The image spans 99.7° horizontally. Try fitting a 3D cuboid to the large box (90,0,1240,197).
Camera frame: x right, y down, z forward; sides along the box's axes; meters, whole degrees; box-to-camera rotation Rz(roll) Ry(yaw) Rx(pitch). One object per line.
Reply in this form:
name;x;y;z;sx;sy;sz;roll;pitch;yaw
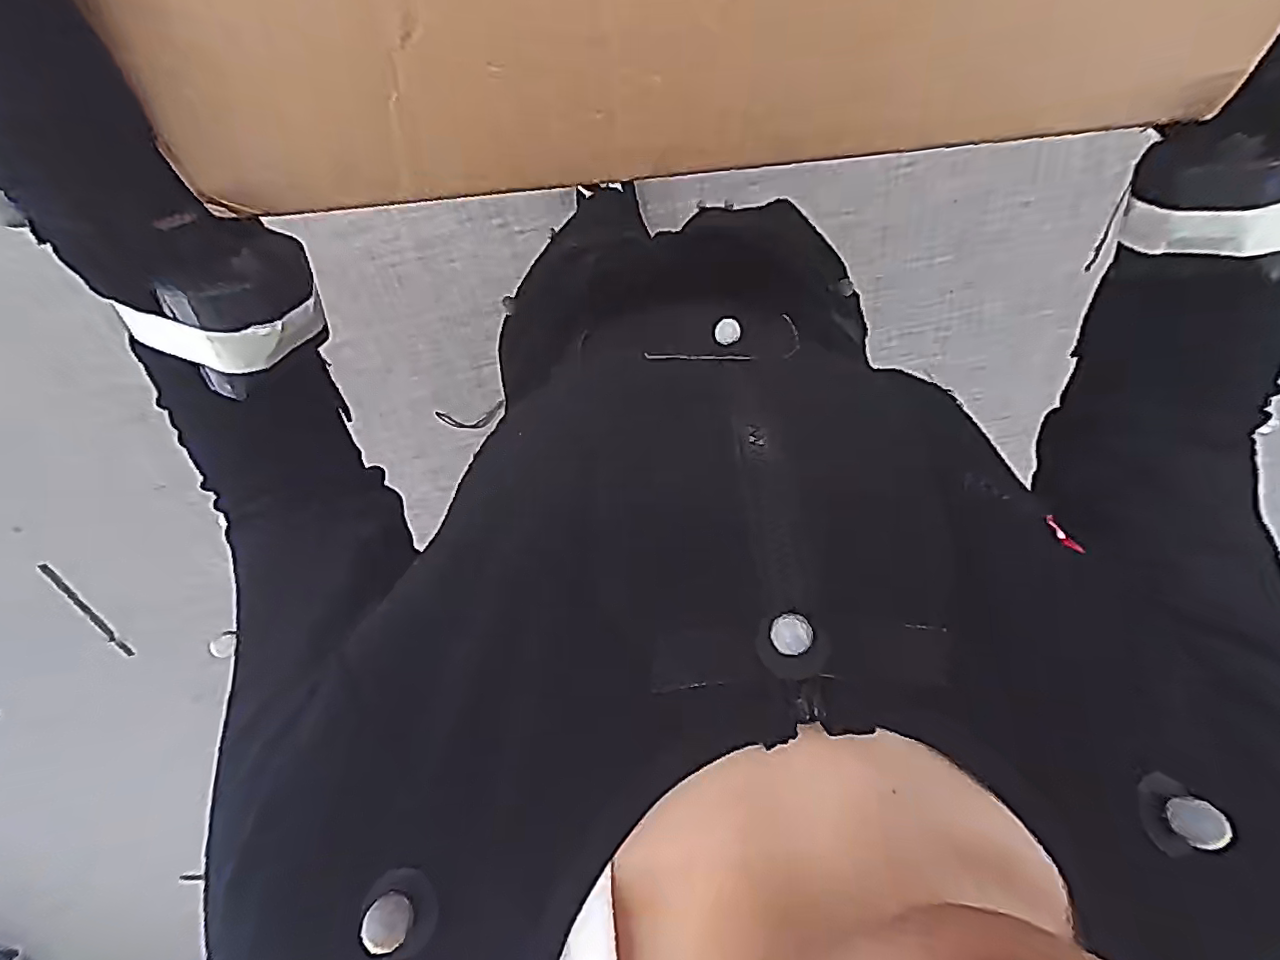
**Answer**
large box;0.007;-0.345;0.178;0.408;0.320;0.320;-5;146;0
